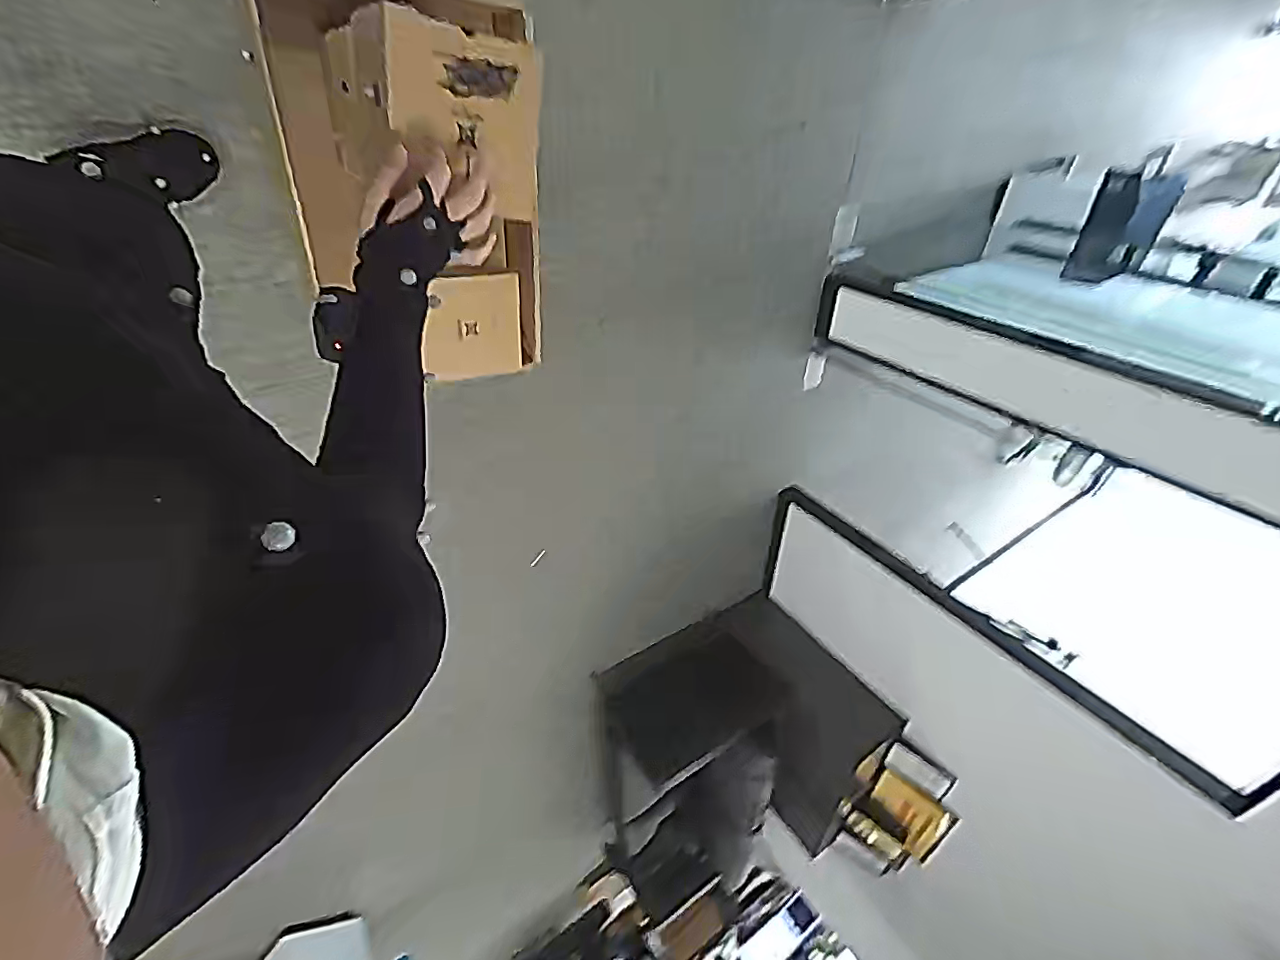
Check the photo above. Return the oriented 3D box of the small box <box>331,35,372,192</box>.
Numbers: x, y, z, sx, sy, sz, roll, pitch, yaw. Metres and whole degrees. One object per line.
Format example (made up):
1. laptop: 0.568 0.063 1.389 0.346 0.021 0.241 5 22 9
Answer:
1. small box: -0.322 -0.499 0.762 0.179 0.176 0.168 -14 128 -32

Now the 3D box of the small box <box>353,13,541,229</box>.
1. small box: -0.234 -0.418 0.648 0.168 0.176 0.179 -11 127 -34

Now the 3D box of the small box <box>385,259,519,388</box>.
1. small box: -0.322 -0.273 0.924 0.179 0.176 0.168 -16 129 -30
